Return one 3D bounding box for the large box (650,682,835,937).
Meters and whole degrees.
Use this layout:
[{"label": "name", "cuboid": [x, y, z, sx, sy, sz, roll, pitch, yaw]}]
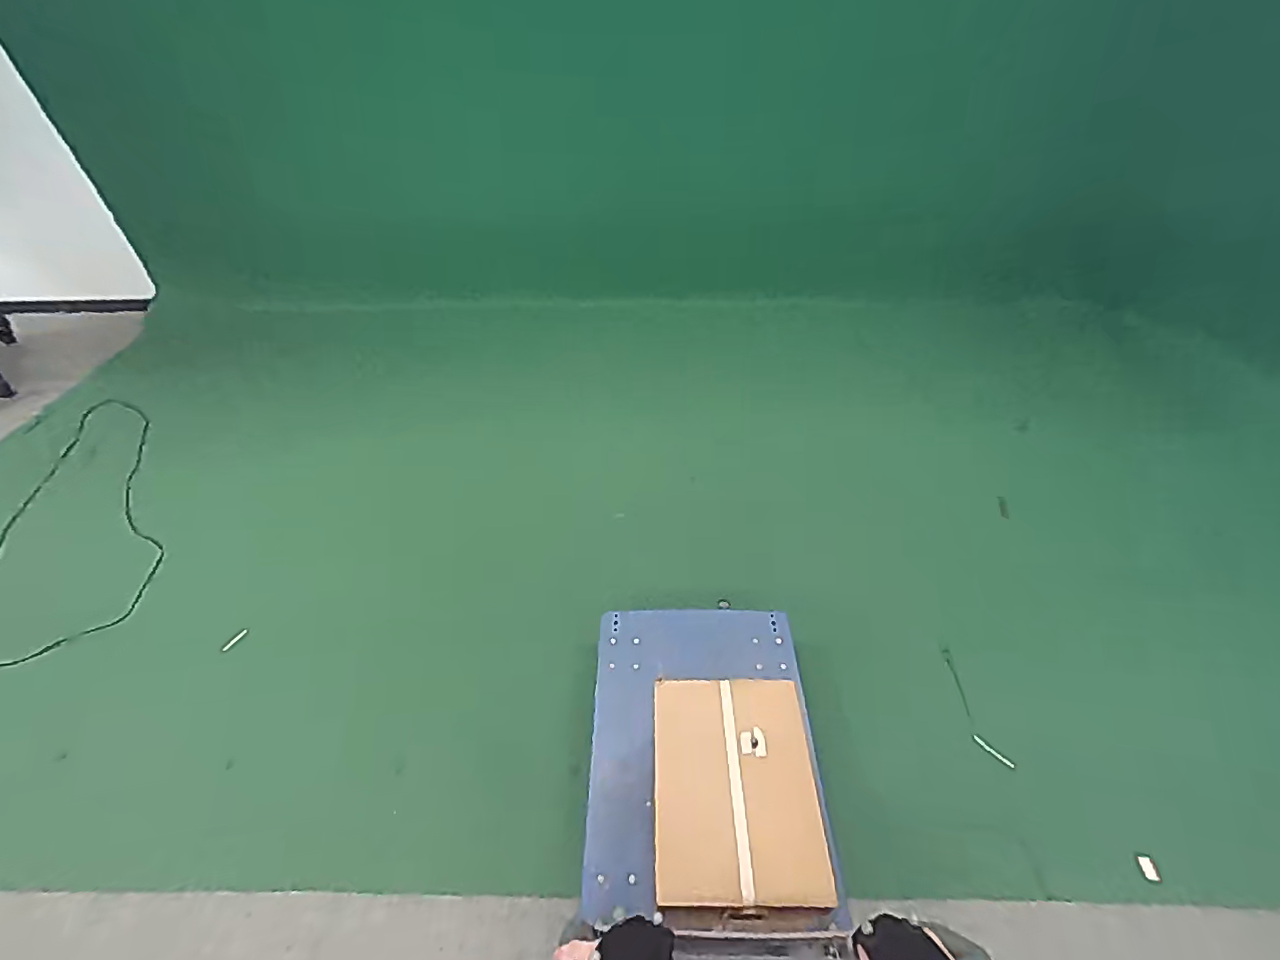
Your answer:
[{"label": "large box", "cuboid": [0.184, 0.701, 1.165, 0.320, 0.320, 0.408, 0, 42, 0]}]
